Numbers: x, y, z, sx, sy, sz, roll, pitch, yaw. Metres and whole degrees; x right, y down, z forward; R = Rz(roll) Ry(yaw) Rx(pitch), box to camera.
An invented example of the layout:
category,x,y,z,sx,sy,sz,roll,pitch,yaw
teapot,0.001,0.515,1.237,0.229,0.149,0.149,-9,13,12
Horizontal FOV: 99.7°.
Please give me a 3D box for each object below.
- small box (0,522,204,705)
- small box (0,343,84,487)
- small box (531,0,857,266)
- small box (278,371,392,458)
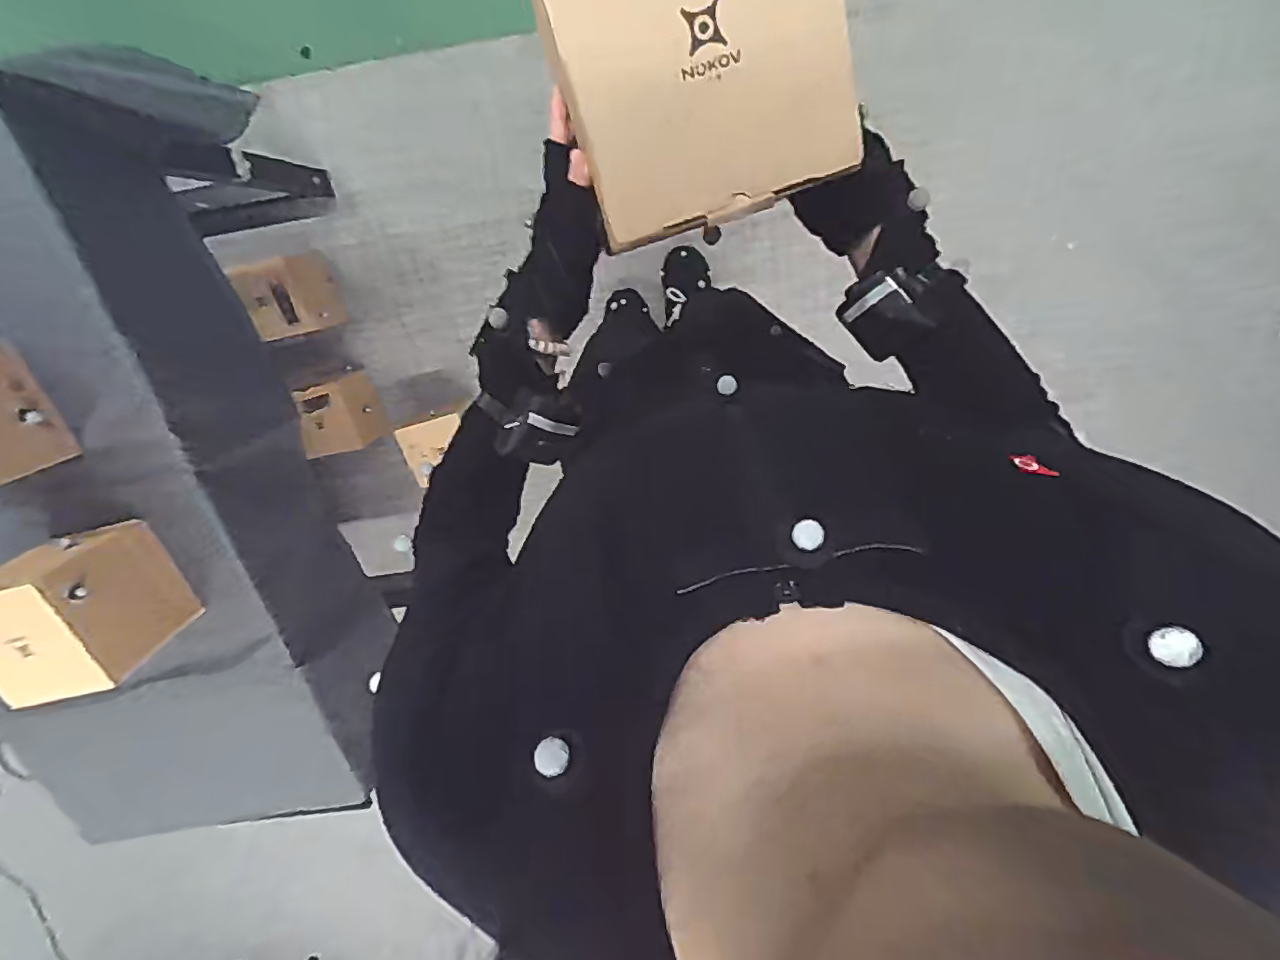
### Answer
category,x,y,z,sx,sy,sz,roll,pitch,yaw
small box,-0.793,0.186,0.777,0.168,0.176,0.179,-12,113,6
small box,-0.878,-0.061,0.668,0.179,0.176,0.168,-11,114,5
small box,0.031,-0.269,0.388,0.168,0.176,0.179,-19,113,2
small box,-0.783,-0.178,1.408,0.168,0.176,0.179,-10,115,5
